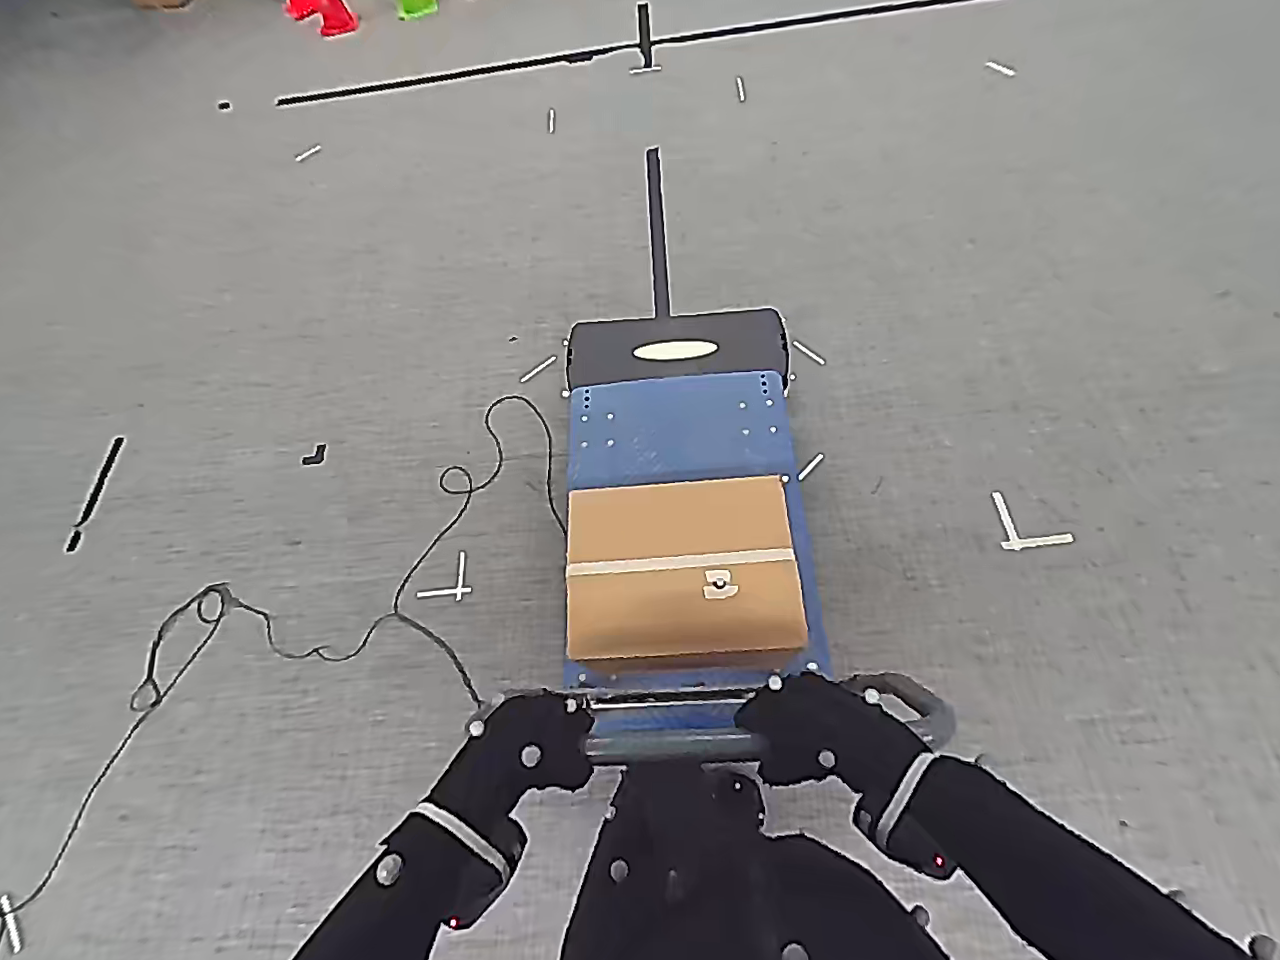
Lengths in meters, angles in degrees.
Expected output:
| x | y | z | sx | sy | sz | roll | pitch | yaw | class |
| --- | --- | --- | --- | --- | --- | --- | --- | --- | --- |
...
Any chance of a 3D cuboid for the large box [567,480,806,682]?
| x | y | z | sx | sy | sz | roll | pitch | yaw | class |
| --- | --- | --- | --- | --- | --- | --- | --- | --- | --- |
| 0.078 | 0.219 | 1.088 | 0.408 | 0.320 | 0.320 | -4 | 66 | 3 | large box |
